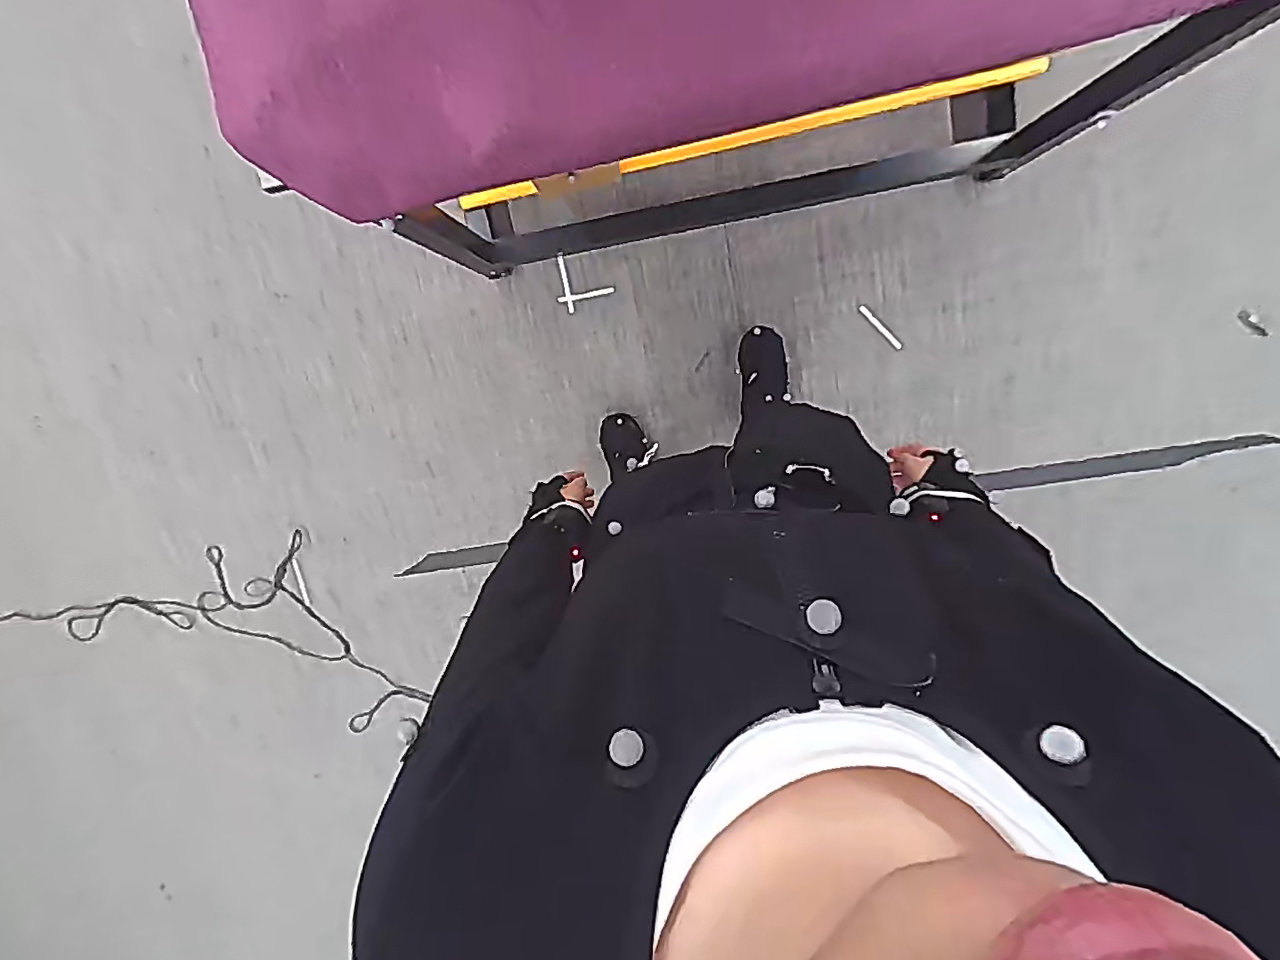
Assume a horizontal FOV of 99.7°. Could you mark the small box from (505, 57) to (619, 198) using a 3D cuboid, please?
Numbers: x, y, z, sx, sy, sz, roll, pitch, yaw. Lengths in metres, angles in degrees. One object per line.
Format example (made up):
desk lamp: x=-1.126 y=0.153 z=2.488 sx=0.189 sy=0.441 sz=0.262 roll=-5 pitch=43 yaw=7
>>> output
small box: x=-0.139 y=-0.666 z=1.041 sx=0.179 sy=0.176 sz=0.168 roll=-11 pitch=103 yaw=4
